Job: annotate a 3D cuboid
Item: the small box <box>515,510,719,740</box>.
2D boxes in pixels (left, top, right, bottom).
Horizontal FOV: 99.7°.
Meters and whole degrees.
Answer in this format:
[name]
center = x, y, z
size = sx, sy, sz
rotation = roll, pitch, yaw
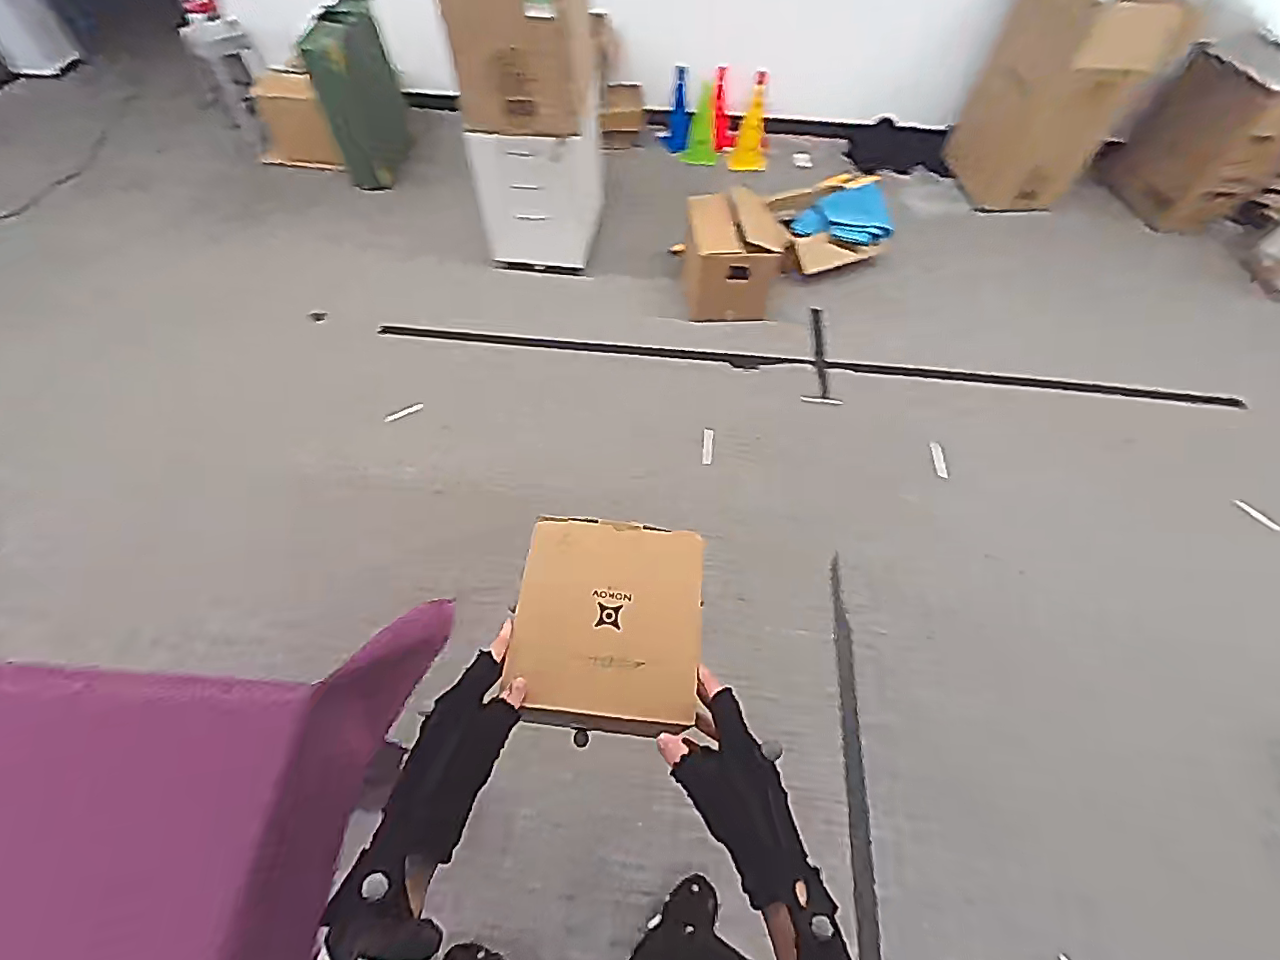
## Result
[small box]
center = -0.020, 0.154, 0.553
size = 0.168, 0.176, 0.179
rotation = 8, 60, 0
